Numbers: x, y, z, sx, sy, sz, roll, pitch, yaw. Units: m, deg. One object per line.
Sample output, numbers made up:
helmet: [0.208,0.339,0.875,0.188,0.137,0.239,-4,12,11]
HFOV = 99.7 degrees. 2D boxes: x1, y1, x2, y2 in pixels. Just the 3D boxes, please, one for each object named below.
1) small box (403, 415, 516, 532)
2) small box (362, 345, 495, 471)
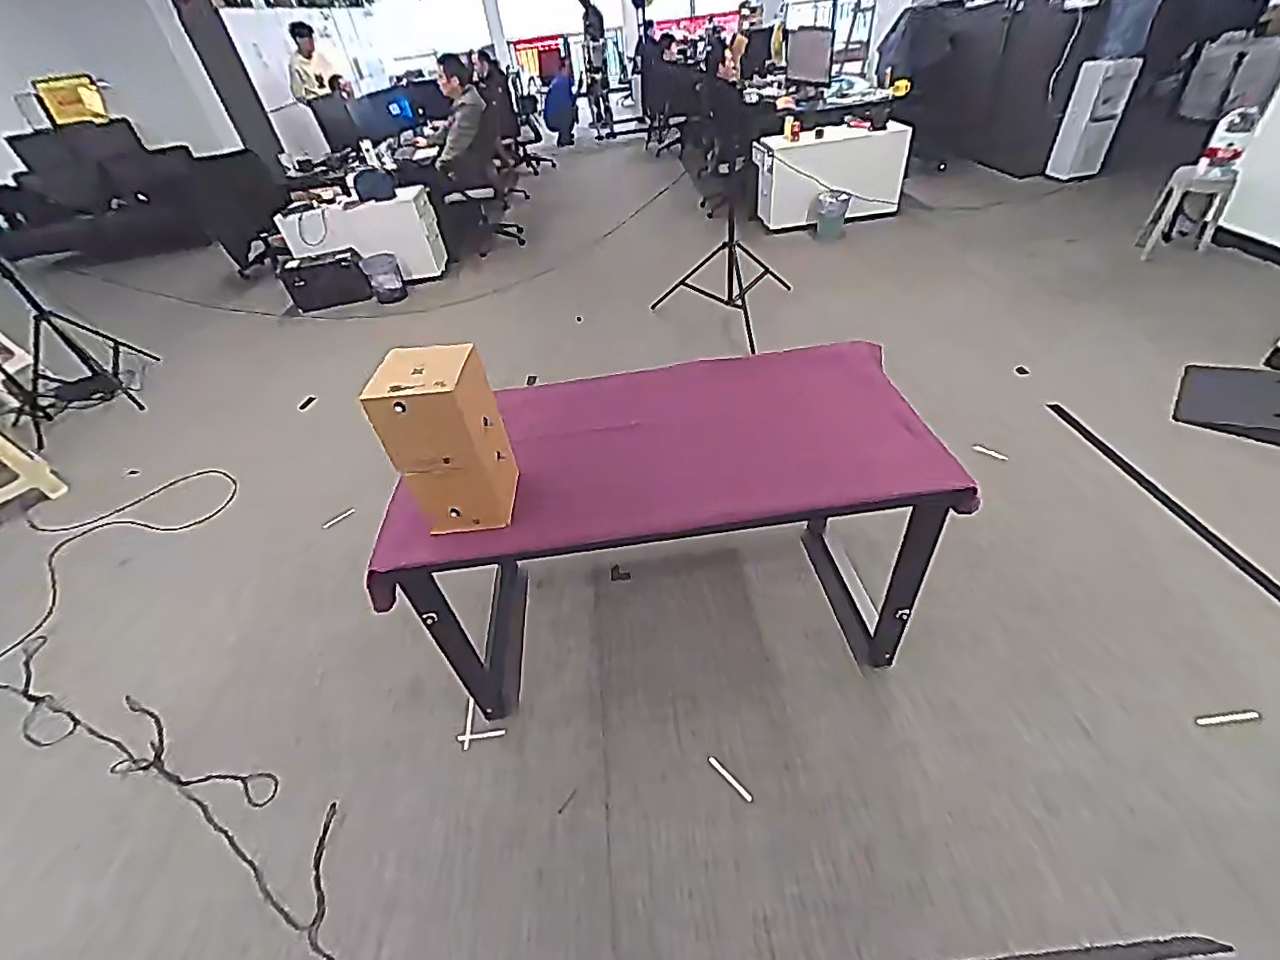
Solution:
small box: [-0.365,-0.013,1.131,0.168,0.176,0.179,-6,41,2]
small box: [-0.385,-0.136,1.024,0.168,0.176,0.179,-5,40,3]
